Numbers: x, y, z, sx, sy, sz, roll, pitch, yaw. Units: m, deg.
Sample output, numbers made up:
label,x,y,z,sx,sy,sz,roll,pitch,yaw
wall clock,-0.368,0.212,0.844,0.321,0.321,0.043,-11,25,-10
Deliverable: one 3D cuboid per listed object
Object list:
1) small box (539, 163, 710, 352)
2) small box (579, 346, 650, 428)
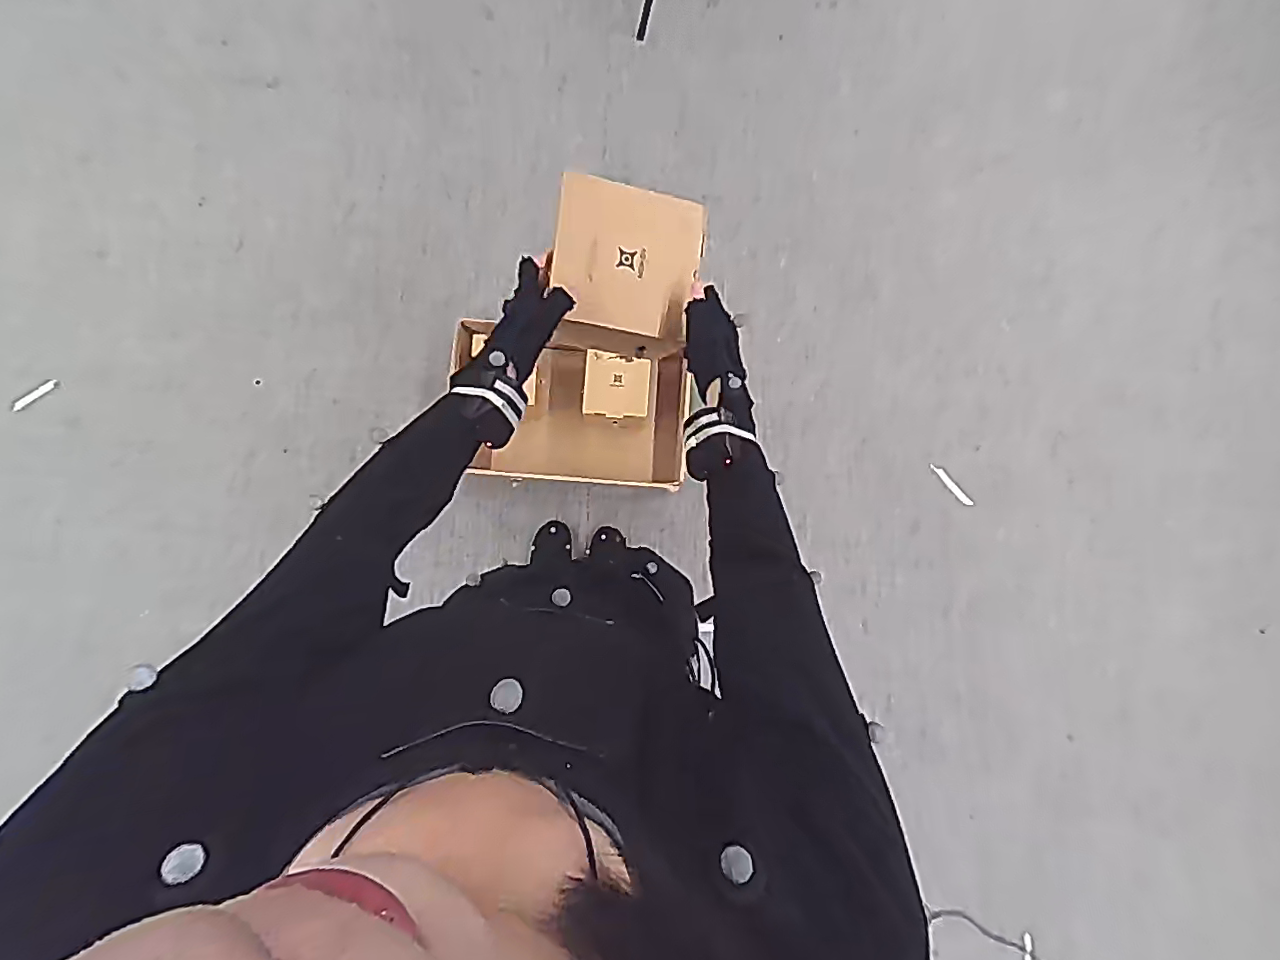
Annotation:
label,x,y,z,sx,sy,sz,roll,pitch,yaw
small box,-0.030,-0.264,0.689,0.179,0.176,0.168,6,94,-13
small box,-0.063,-0.240,1.443,0.168,0.176,0.179,6,86,0
